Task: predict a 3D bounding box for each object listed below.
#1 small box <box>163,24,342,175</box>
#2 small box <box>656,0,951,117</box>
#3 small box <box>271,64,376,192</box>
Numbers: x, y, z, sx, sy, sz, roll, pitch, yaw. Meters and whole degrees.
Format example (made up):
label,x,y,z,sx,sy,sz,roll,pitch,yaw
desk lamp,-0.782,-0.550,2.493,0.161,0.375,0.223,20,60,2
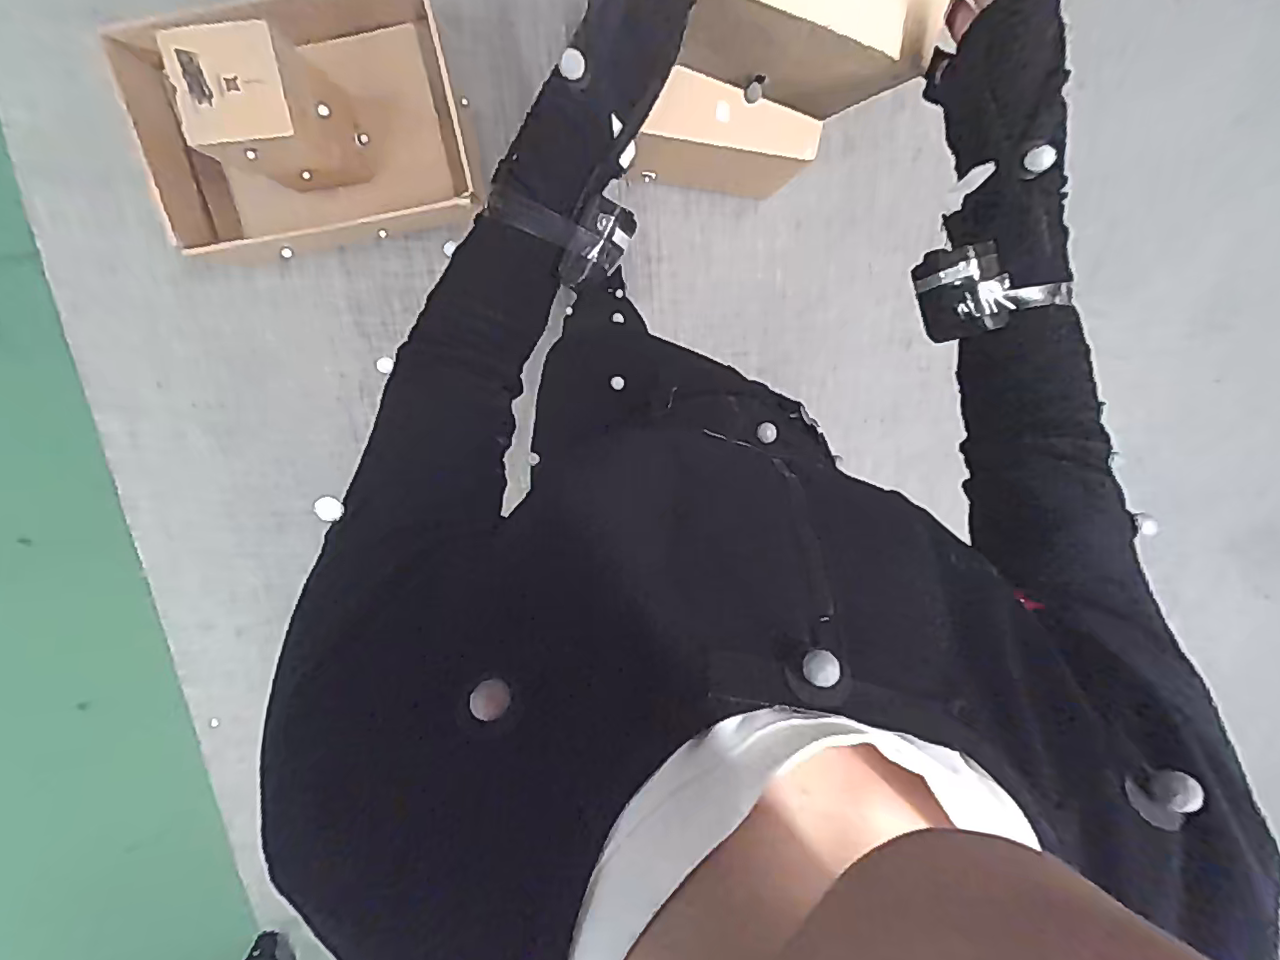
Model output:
label,x,y,z,sx,sy,sz,roll,pitch,yaw
small box,-0.666,-0.656,0.952,0.179,0.176,0.168,-7,105,-3
small box,0.127,-0.407,0.415,0.179,0.176,0.168,10,111,-14
small box,-0.679,-0.709,1.108,0.179,0.176,0.168,-10,105,-2
